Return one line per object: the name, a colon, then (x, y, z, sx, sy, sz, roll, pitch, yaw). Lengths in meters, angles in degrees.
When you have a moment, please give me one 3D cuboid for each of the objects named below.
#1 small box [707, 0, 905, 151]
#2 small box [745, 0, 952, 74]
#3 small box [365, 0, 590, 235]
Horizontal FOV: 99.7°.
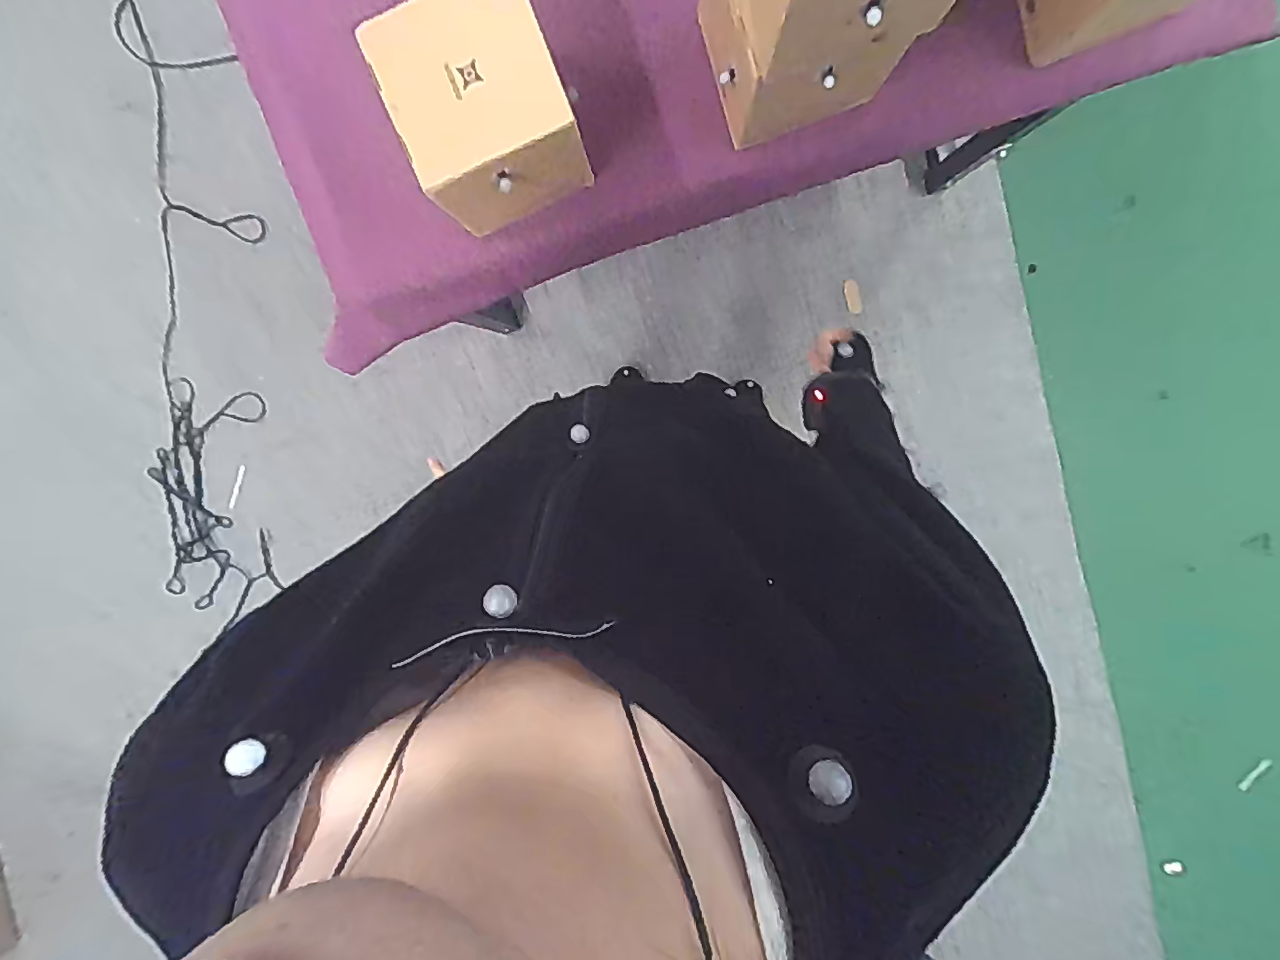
small box: (0.176, -0.500, 0.594, 0.179, 0.176, 0.168, -17, 98, 5)
small box: (0.175, -0.469, 0.433, 0.168, 0.176, 0.179, -14, 99, 5)
small box: (-0.167, -0.414, 0.627, 0.179, 0.176, 0.168, -21, 98, 7)
